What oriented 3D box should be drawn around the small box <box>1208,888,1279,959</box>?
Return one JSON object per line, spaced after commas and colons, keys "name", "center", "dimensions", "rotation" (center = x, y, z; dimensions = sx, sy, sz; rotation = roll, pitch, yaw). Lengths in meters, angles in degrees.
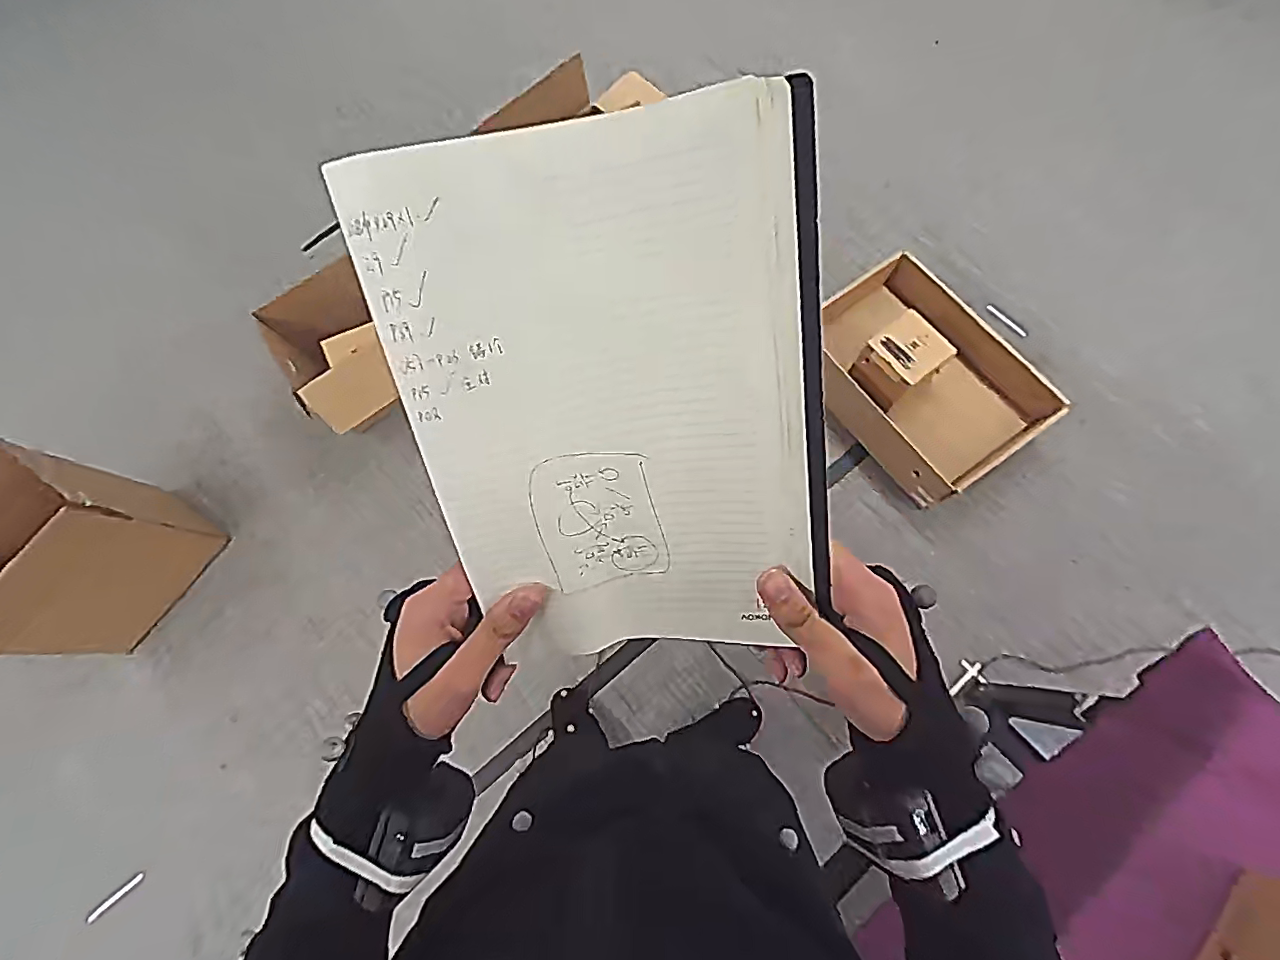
{"name": "small box", "center": [0.719, 0.544, 0.521], "dimensions": [0.179, 0.176, 0.168], "rotation": [40, 81, 14]}
